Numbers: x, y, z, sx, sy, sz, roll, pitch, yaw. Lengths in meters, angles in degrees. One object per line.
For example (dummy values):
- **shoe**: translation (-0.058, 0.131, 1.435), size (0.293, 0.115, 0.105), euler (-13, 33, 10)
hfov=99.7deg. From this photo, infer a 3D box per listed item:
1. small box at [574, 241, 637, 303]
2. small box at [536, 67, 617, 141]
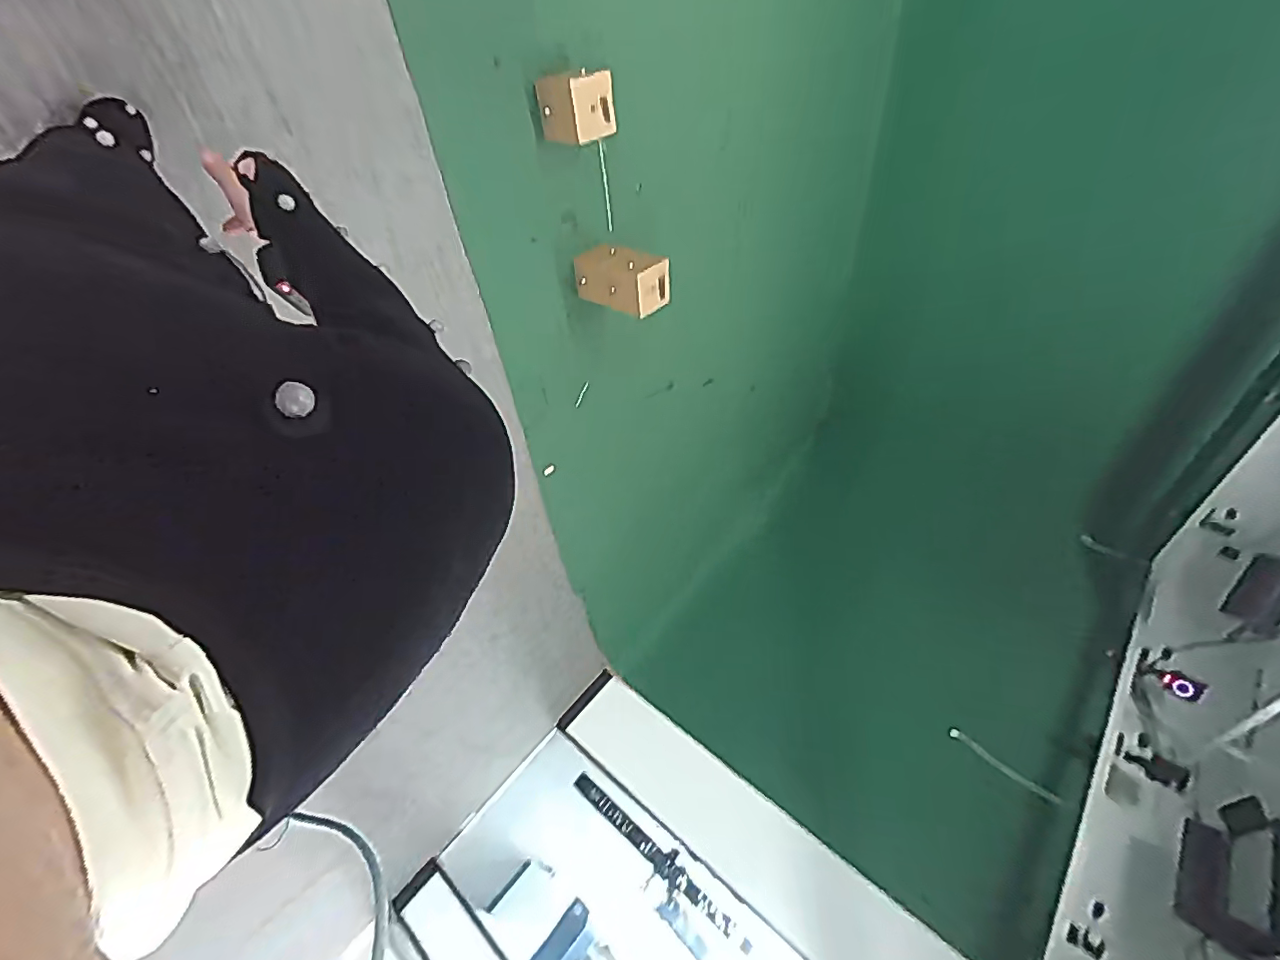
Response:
- **small box**: translation (-0.132, -0.815, 2.104), size (0.179, 0.176, 0.168), euler (-39, 142, -31)
- **small box**: translation (-0.200, -1.197, 1.716), size (0.179, 0.176, 0.168), euler (-40, 141, -29)
